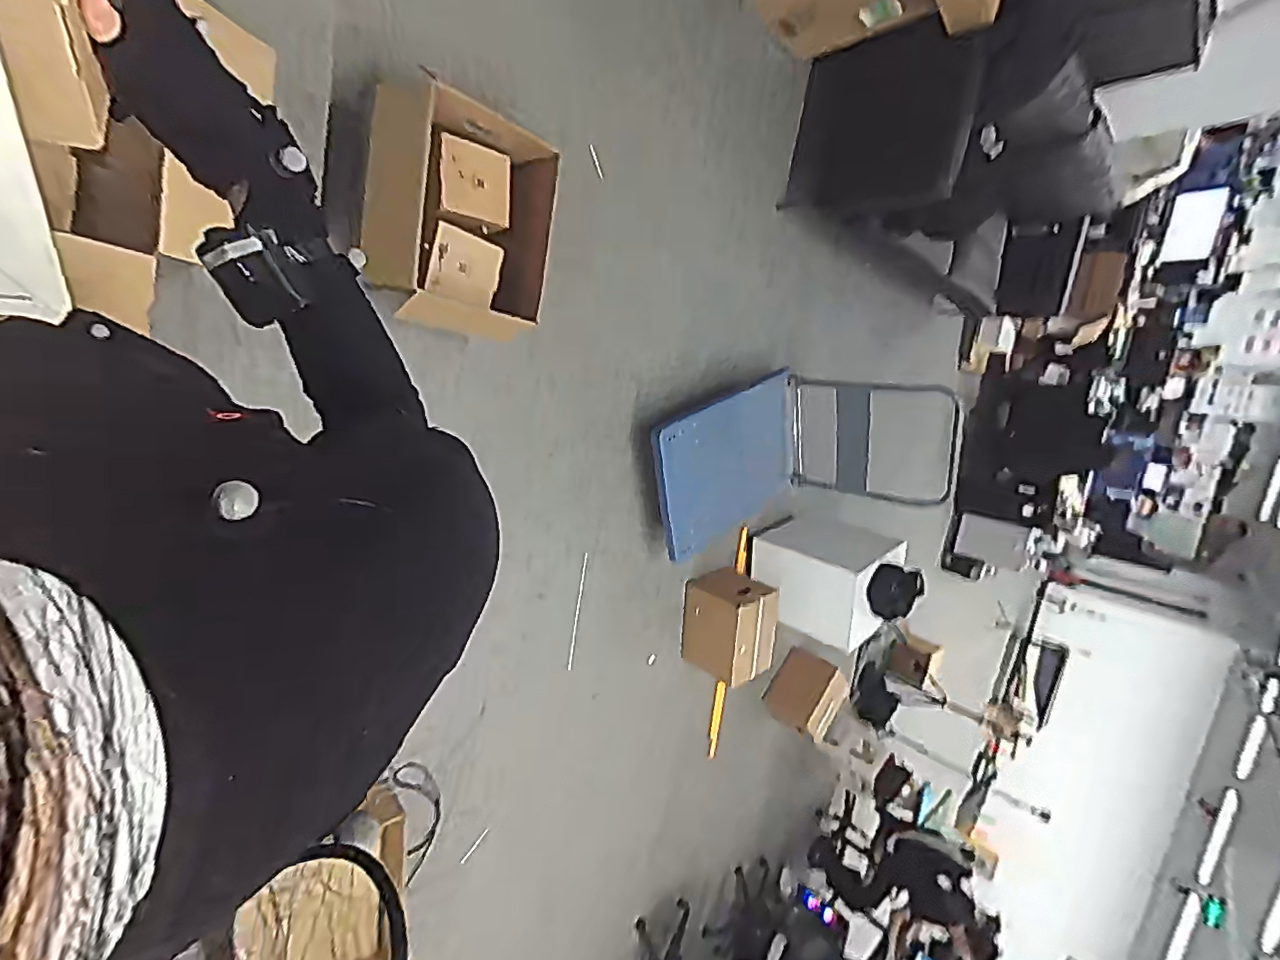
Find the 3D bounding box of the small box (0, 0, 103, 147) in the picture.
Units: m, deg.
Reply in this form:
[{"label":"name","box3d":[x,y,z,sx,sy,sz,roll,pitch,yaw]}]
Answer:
[{"label":"small box","box3d":[-0.362,-0.272,0.223,0.179,0.176,0.168,-10,138,-36]}]
